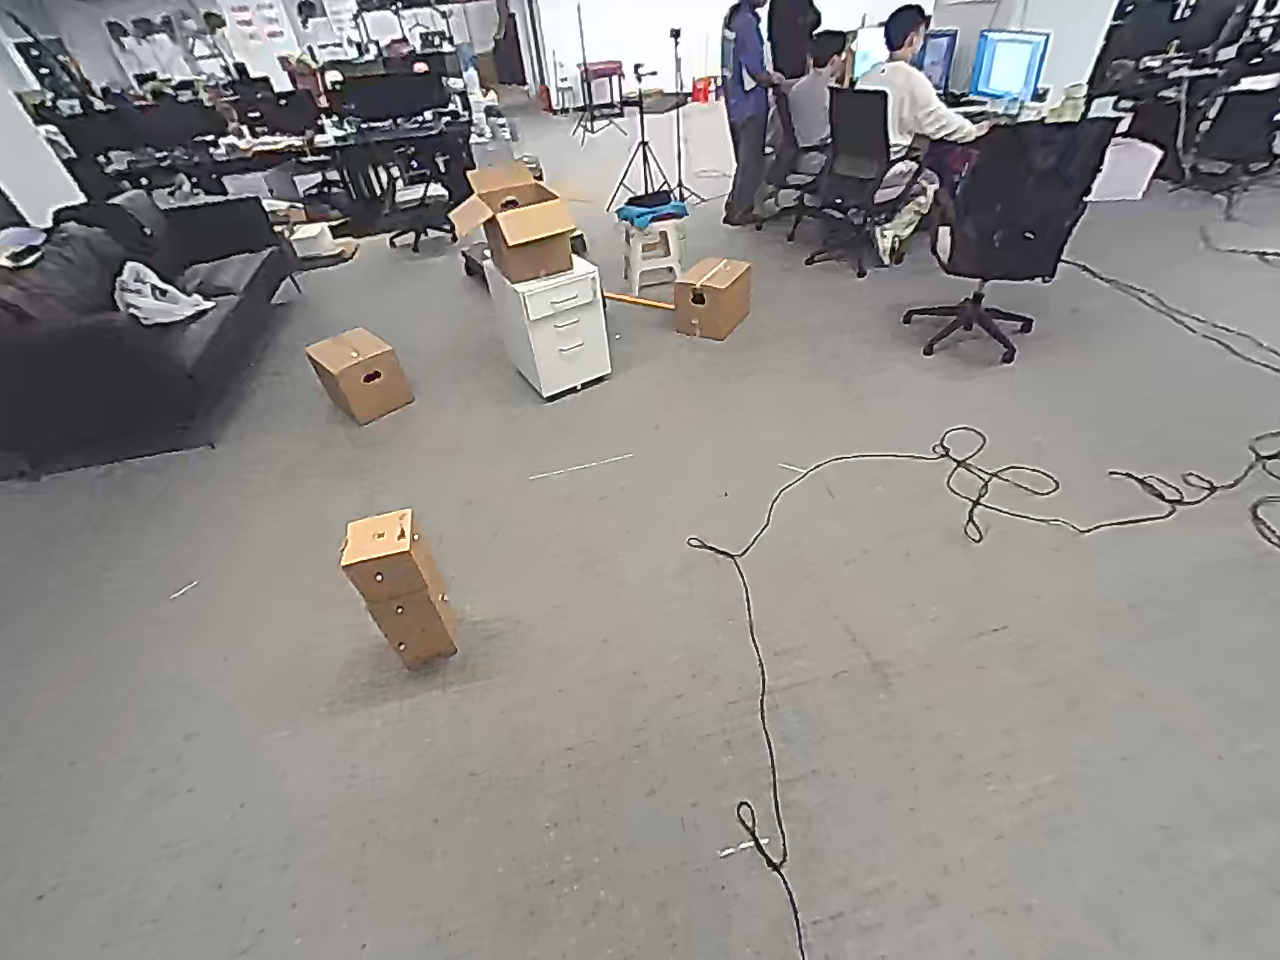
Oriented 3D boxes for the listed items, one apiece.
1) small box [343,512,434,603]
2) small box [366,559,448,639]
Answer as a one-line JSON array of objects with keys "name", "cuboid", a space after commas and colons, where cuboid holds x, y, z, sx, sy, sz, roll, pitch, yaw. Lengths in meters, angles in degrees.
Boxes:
[{"name": "small box", "cuboid": [-0.698, 0.221, 1.518, 0.179, 0.176, 0.168, -14, 42, -8]}, {"name": "small box", "cuboid": [-0.689, 0.350, 1.618, 0.179, 0.176, 0.168, -12, 42, -9]}]
